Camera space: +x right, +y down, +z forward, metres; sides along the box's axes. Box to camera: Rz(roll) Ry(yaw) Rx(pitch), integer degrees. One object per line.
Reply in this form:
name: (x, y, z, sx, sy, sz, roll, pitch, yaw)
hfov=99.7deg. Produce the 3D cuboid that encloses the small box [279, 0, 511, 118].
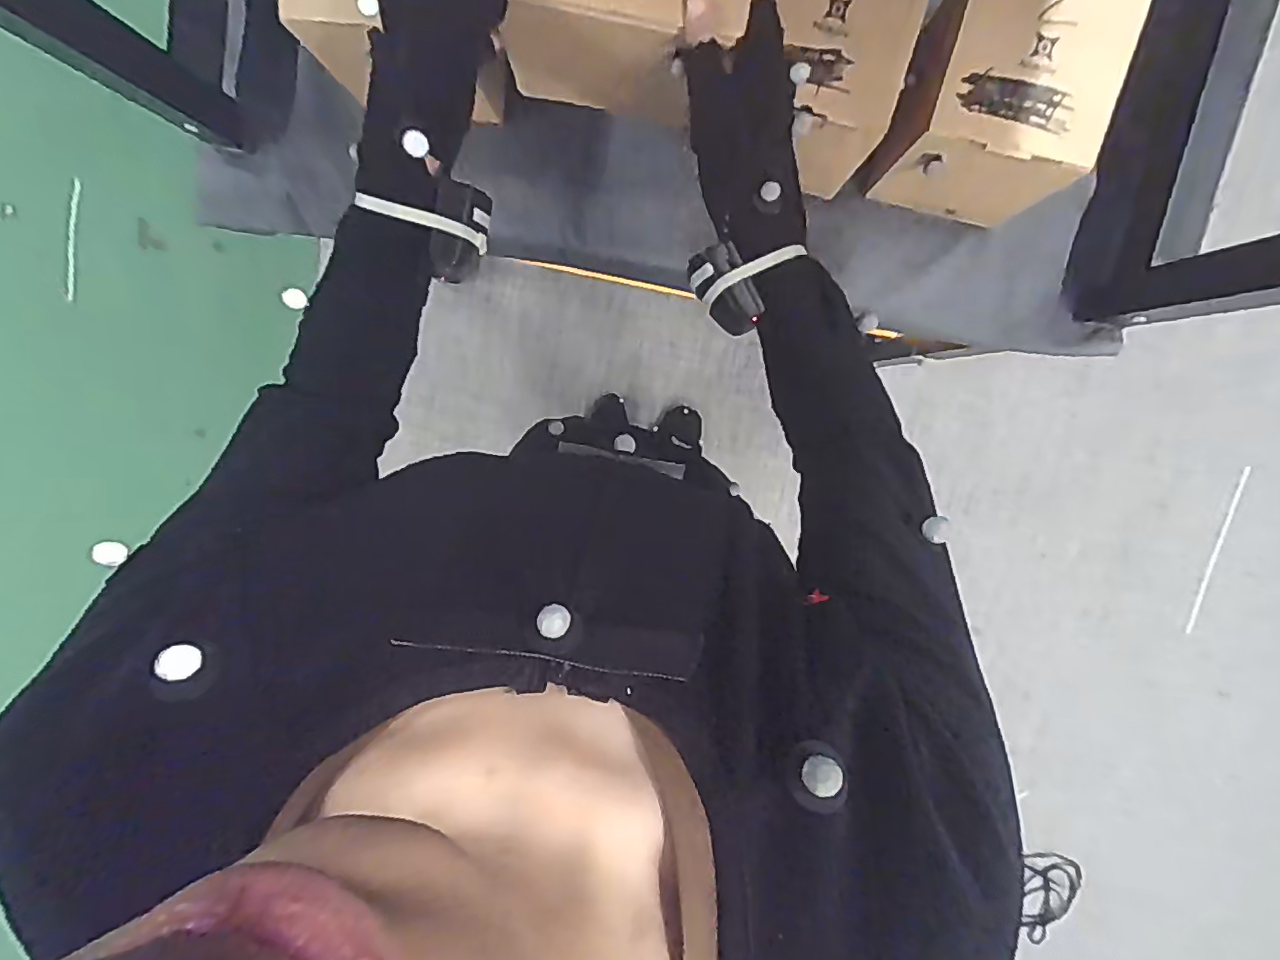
small box: (-0.254, -0.530, 0.592, 0.179, 0.176, 0.168, 7, 99, 0)
